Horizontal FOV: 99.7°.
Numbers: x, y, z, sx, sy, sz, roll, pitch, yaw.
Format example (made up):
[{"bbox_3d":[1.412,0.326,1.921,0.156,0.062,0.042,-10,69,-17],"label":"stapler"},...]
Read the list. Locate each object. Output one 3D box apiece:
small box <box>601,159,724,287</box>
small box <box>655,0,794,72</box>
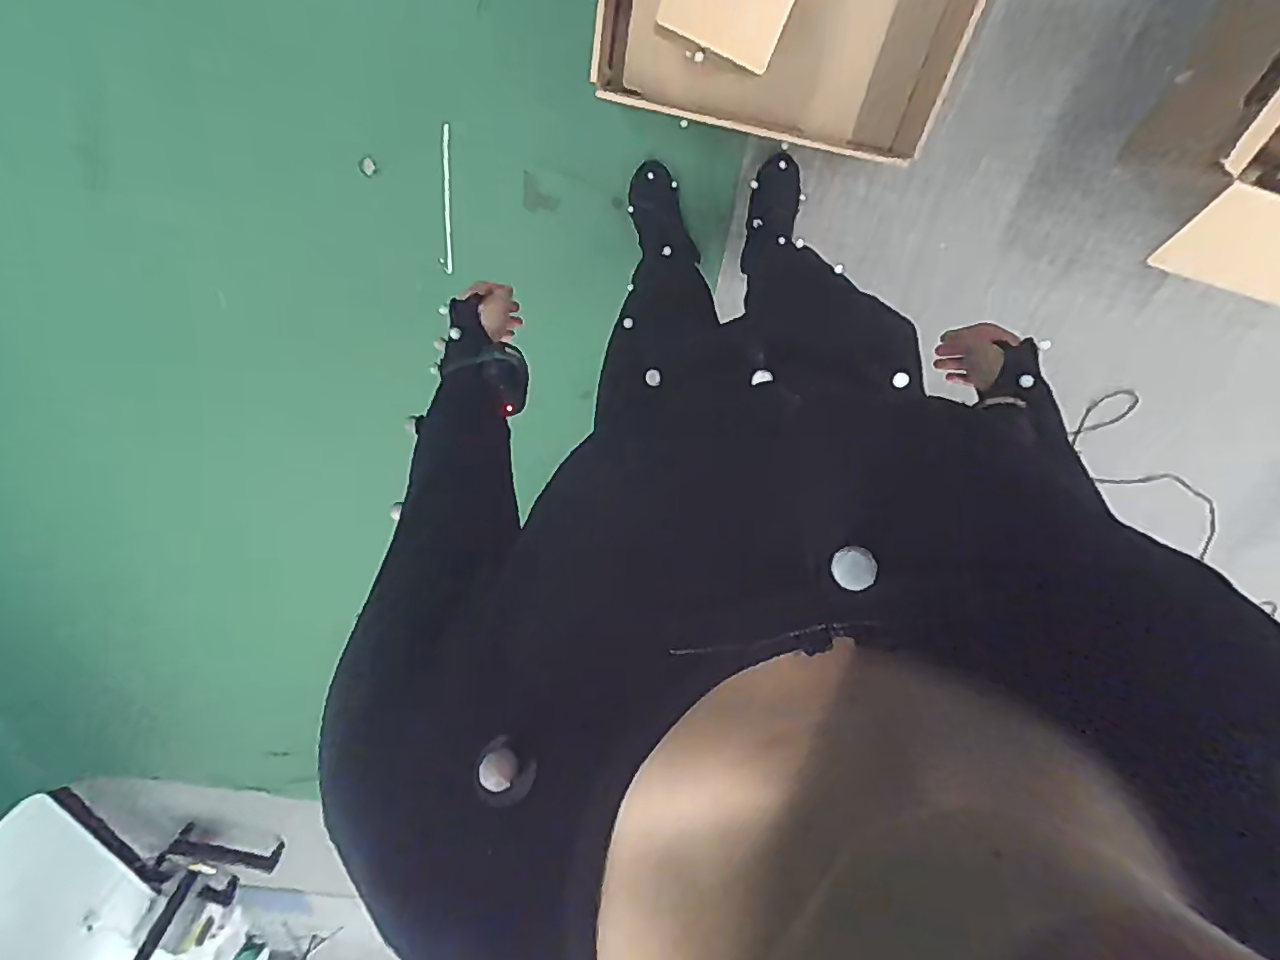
[{"bbox_3d":[0.056,-0.549,1.164,0.176,0.168,0.179,21,103,-47],"label":"small box"},{"bbox_3d":[0.131,-0.732,0.793,0.179,0.176,0.168,18,123,-11],"label":"small box"}]
